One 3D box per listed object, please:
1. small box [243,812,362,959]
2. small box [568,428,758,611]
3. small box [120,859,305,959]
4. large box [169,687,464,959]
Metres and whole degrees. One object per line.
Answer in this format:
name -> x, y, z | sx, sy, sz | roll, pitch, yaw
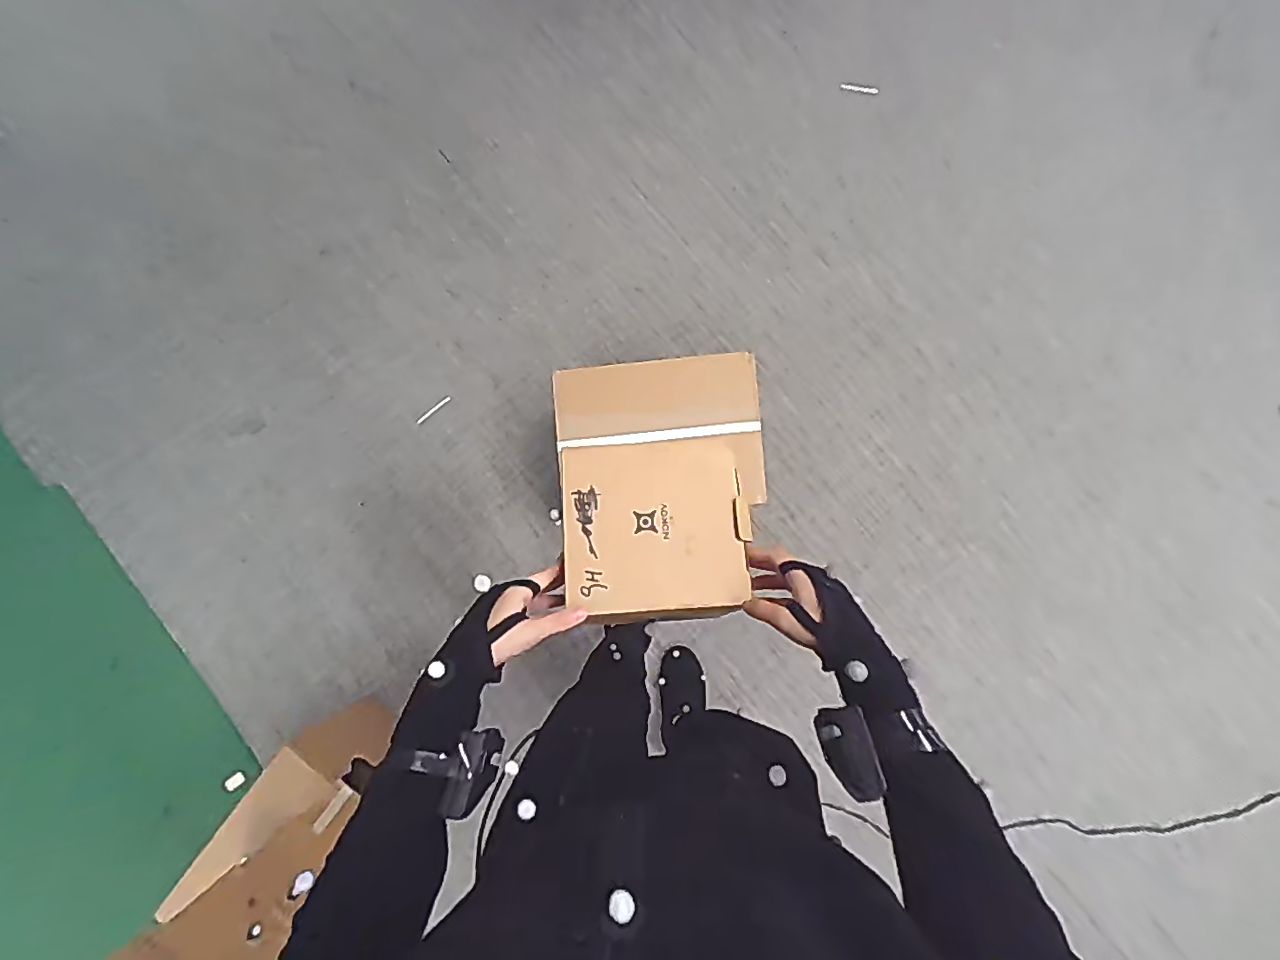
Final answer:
small box -> -0.629, 0.727, 0.934 | 0.179, 0.176, 0.168 | 42, 87, 4
small box -> 0.012, 0.051, 0.592 | 0.179, 0.176, 0.168 | -2, 72, -6
small box -> -0.636, 0.708, 0.773 | 0.168, 0.176, 0.179 | 43, 87, 4
large box -> -0.664, 0.747, 1.180 | 0.320, 0.320, 0.408 | 36, 89, 5
